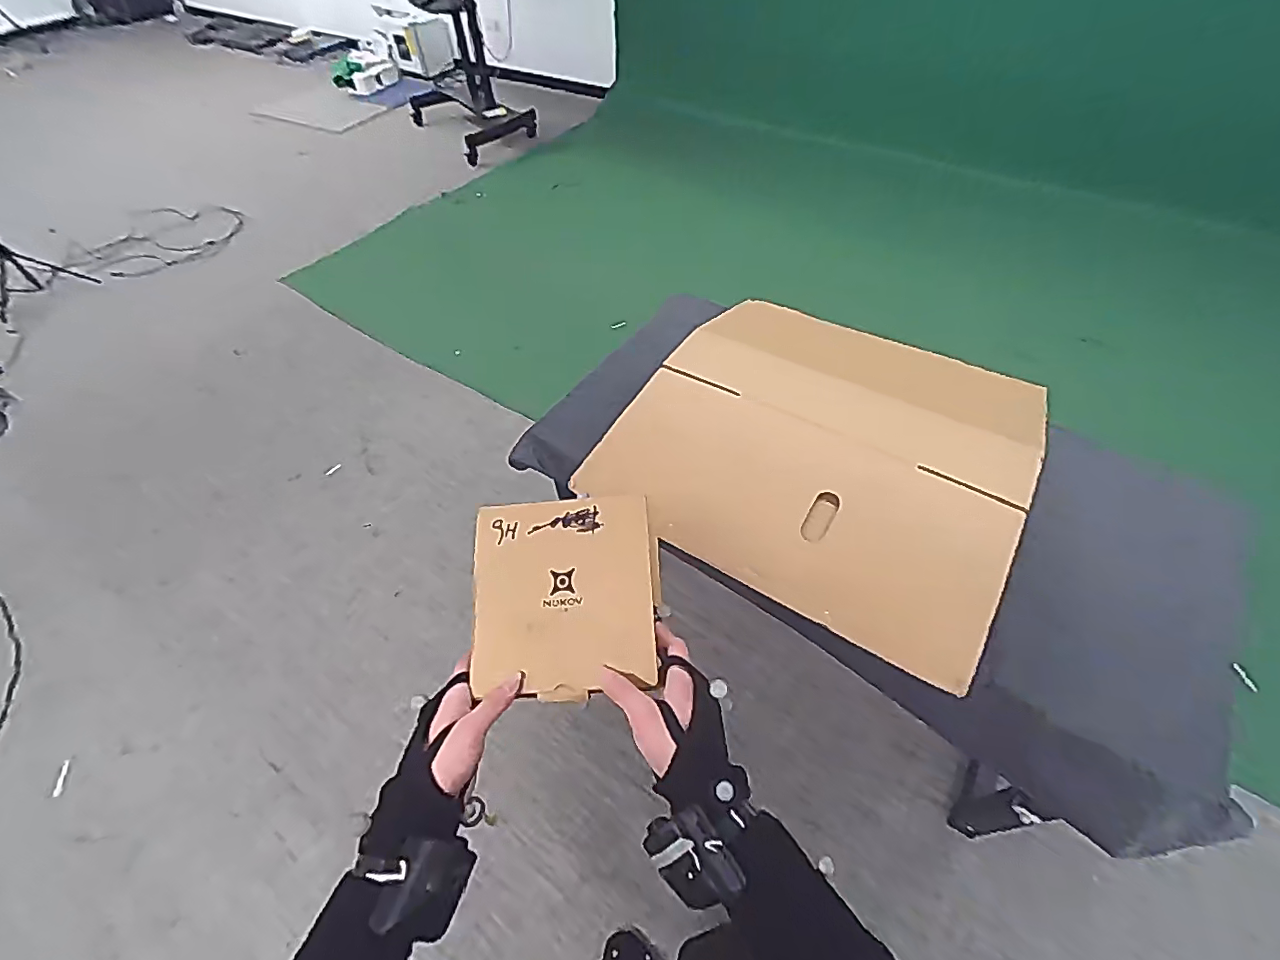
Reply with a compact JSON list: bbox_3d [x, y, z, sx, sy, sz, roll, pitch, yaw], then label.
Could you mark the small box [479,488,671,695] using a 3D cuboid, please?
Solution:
[{"bbox_3d":[-0.059,0.124,0.572,0.168,0.176,0.179,-7,69,3],"label":"small box"}]
